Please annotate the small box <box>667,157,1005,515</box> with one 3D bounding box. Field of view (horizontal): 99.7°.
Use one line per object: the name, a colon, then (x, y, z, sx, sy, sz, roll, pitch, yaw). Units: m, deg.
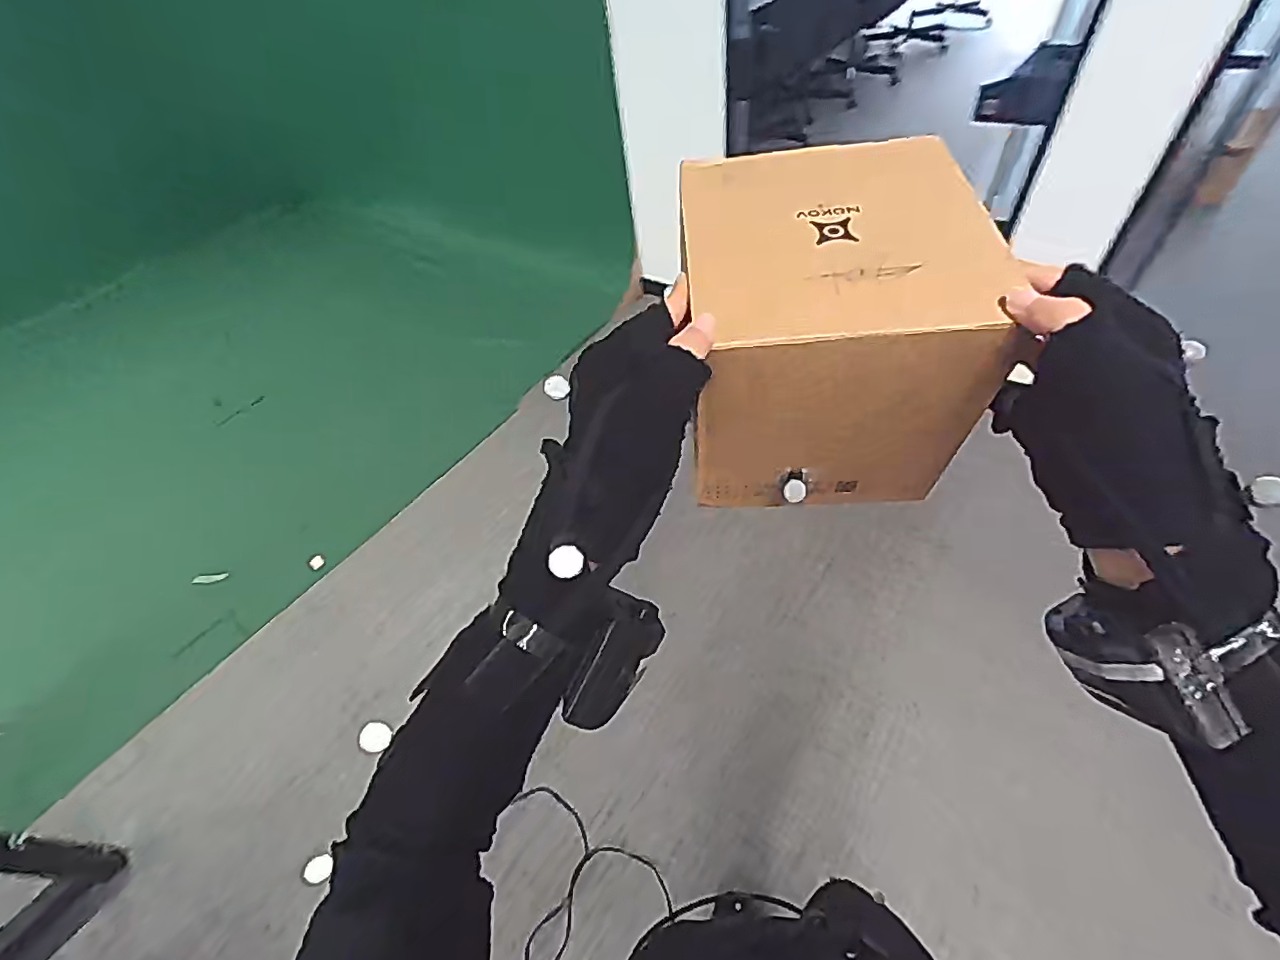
small box: (0.105, -0.093, 0.382, 0.168, 0.176, 0.179, -4, 56, 4)
